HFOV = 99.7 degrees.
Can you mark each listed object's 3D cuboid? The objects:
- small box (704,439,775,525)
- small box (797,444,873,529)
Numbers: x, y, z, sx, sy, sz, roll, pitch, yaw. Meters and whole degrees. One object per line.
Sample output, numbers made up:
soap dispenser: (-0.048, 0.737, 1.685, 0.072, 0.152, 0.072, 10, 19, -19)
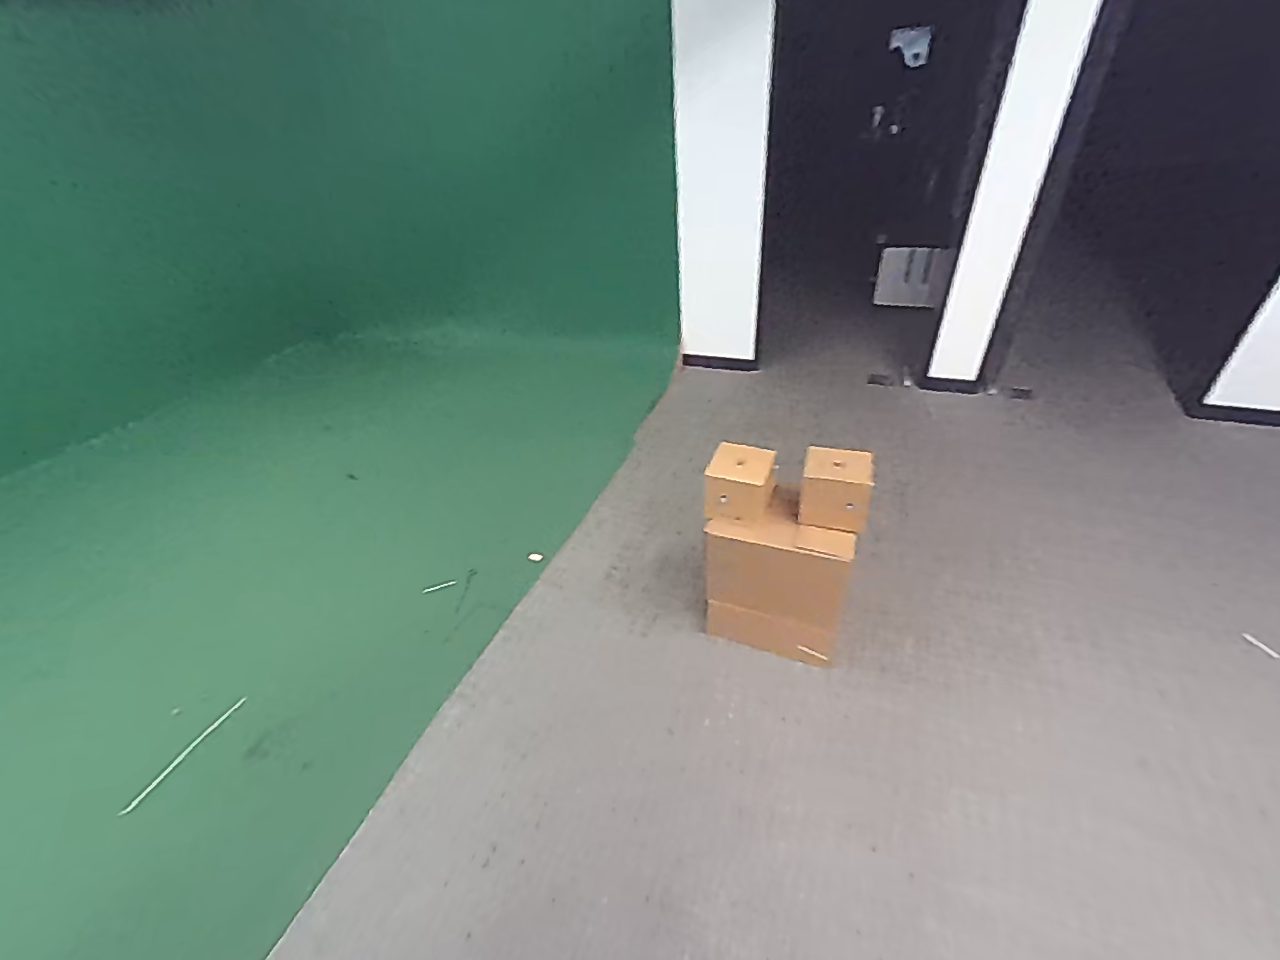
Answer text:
small box: (0.291, 0.006, 1.590, 0.168, 0.176, 0.179, 13, 41, 19)
small box: (0.557, 0.020, 1.545, 0.179, 0.176, 0.168, 9, 38, 20)
